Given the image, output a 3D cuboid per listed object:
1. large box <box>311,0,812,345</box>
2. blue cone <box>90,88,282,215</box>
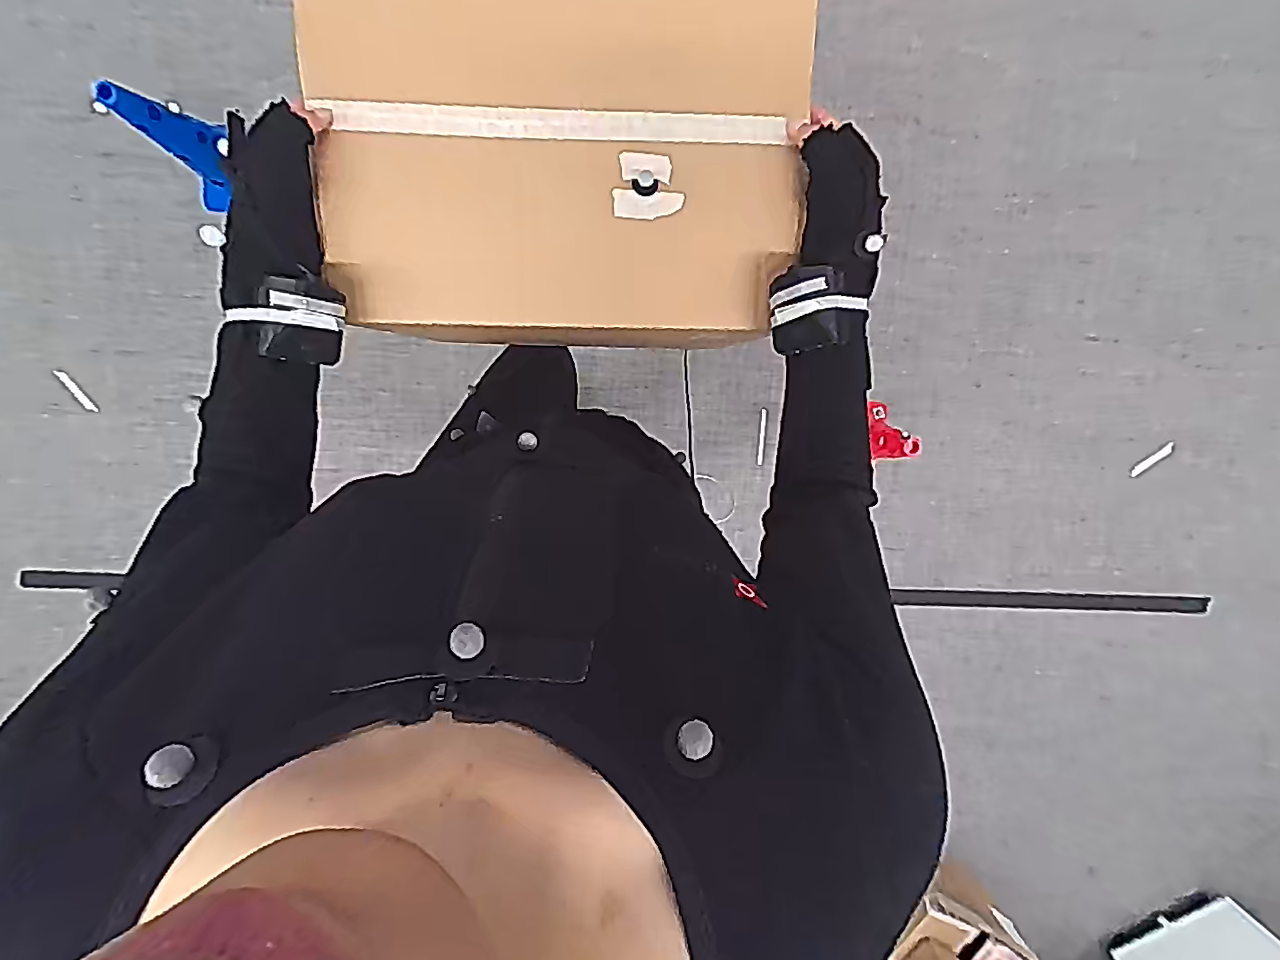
[{"bbox_3d":[-0.068,-0.318,0.590,0.408,0.320,0.320,0,101,-4],"label":"large box"},{"bbox_3d":[-0.982,-0.733,1.175,0.192,0.380,0.193,5,99,-1],"label":"blue cone"}]
